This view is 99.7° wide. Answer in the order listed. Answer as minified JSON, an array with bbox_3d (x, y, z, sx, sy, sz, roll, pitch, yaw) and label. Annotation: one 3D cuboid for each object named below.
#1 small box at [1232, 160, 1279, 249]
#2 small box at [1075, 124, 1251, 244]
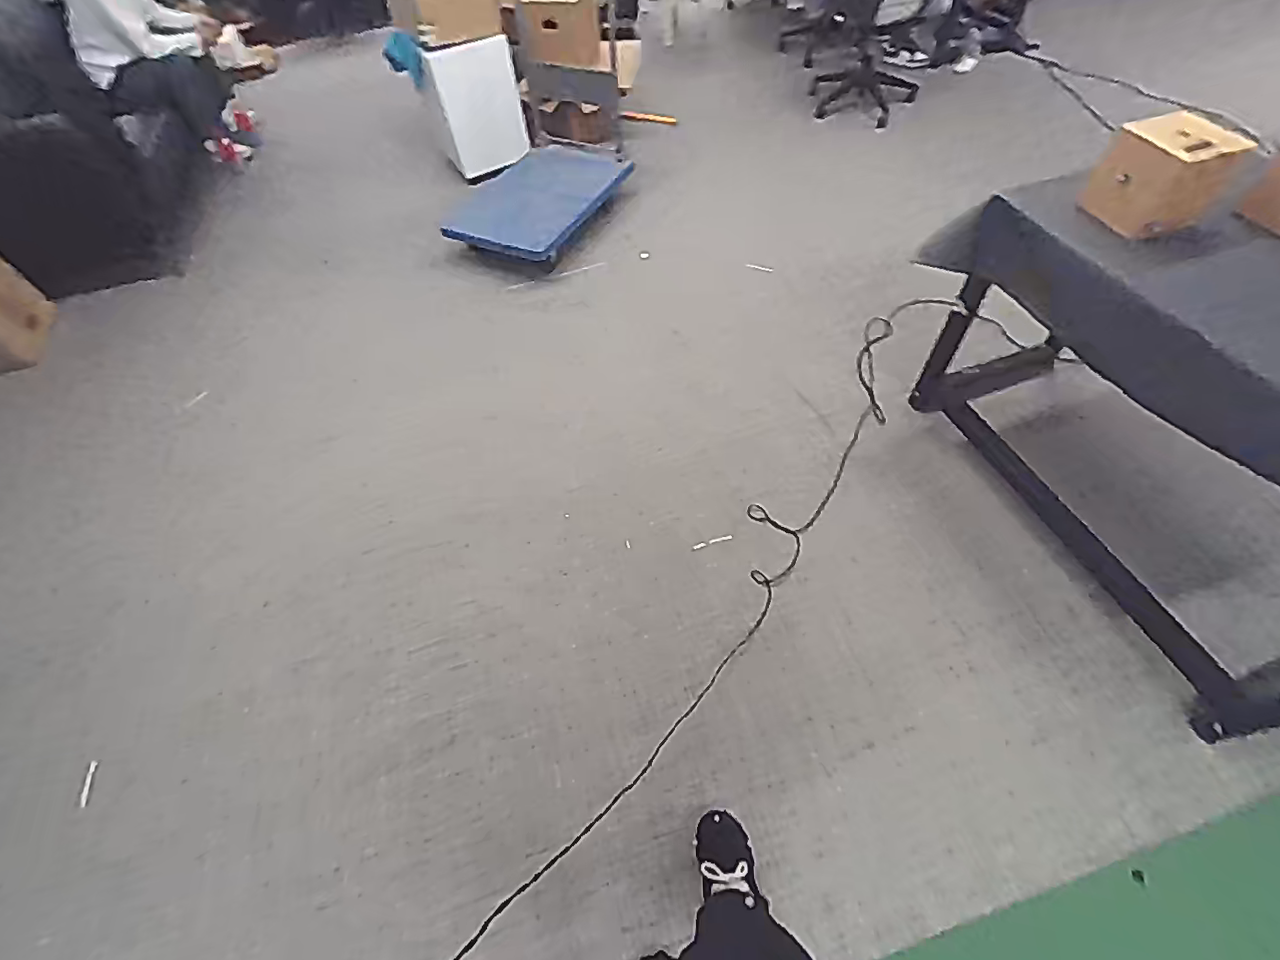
[{"bbox_3d":[1.420,-0.585,1.111,0.168,0.176,0.179,-17,55,-6],"label":"small box"},{"bbox_3d":[1.116,-0.634,1.173,0.168,0.176,0.179,-14,55,-6],"label":"small box"}]
